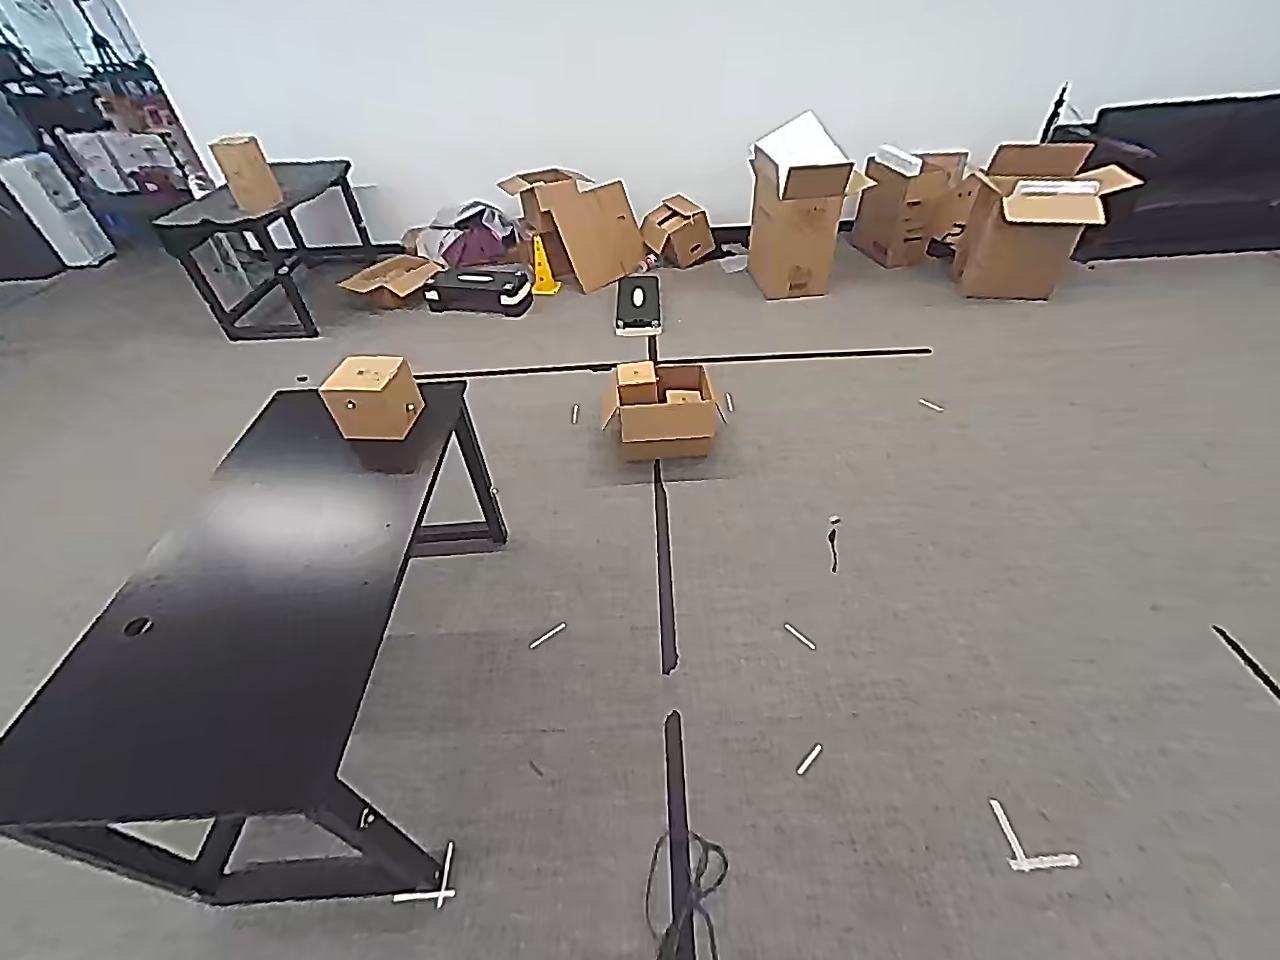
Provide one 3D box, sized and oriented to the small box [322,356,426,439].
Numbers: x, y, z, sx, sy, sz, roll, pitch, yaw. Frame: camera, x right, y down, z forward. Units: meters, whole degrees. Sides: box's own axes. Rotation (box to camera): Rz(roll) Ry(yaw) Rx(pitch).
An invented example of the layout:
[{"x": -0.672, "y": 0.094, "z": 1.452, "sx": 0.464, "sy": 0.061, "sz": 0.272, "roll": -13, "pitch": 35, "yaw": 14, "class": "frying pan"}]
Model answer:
[{"x": -0.733, "y": -0.230, "z": 1.510, "sx": 0.179, "sy": 0.176, "sz": 0.168, "roll": 2, "pitch": 45, "yaw": 6, "class": "small box"}]
